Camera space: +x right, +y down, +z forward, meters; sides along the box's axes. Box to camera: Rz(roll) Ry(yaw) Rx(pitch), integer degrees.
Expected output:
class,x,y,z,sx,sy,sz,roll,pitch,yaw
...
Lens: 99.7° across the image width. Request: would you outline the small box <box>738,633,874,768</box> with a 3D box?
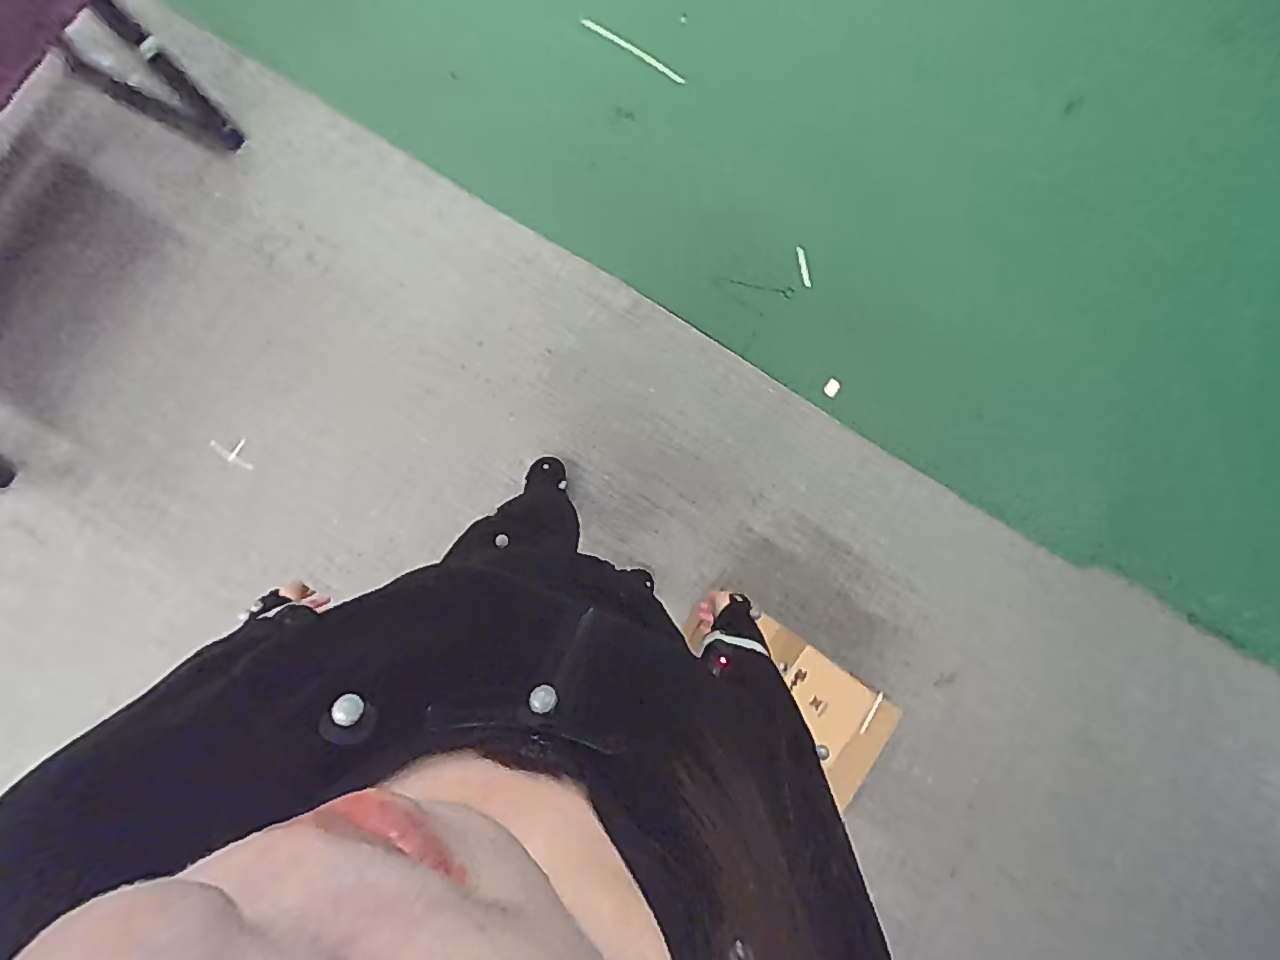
class,x,y,z,sx,sy,sz,roll,pitch,yaw
small box,0.332,0.442,1.118,0.179,0.176,0.168,39,83,-2
